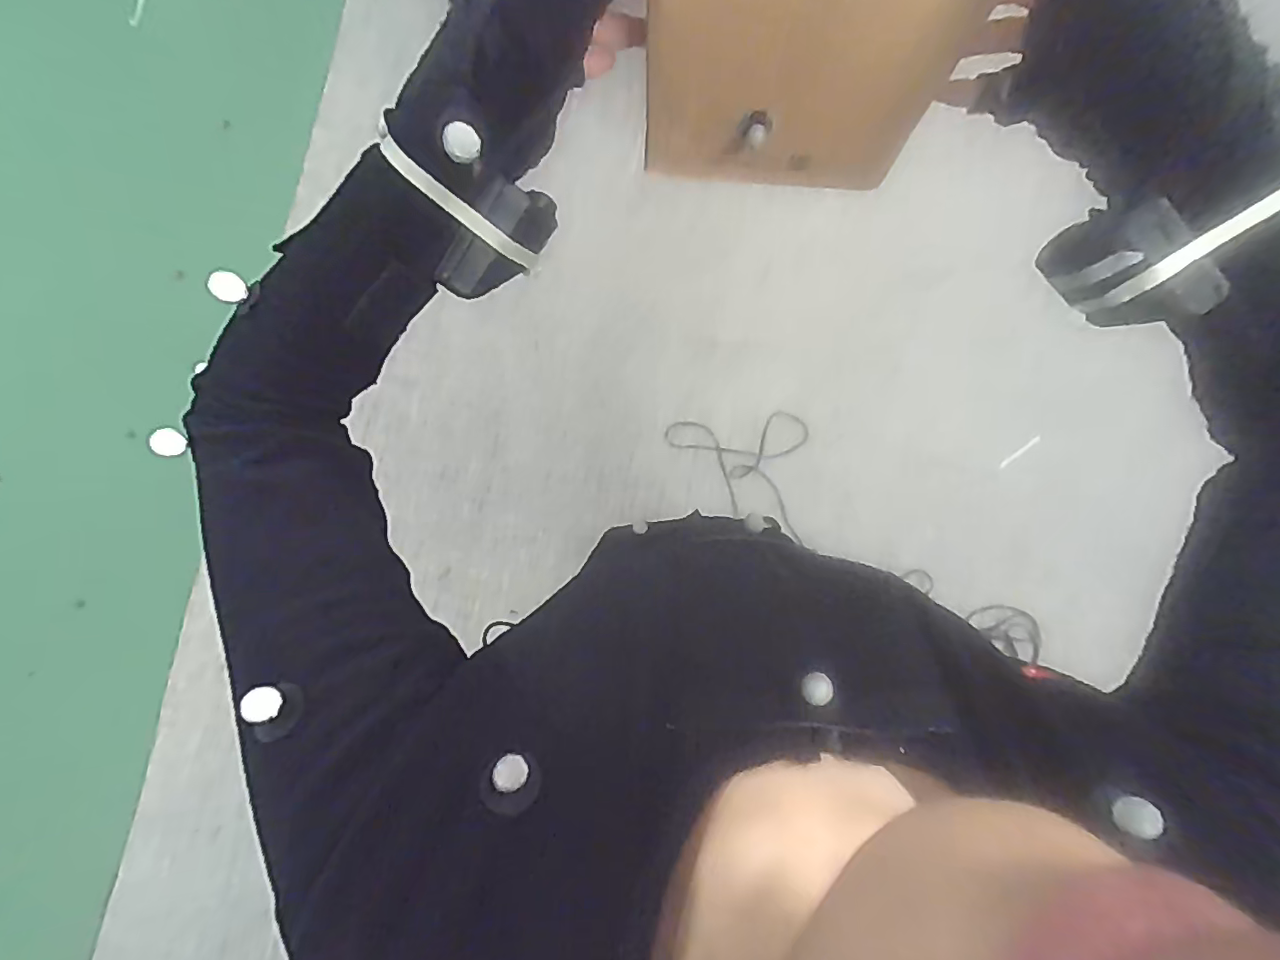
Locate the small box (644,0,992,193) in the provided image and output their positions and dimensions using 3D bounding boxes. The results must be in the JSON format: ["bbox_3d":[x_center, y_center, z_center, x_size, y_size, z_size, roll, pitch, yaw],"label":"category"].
[{"bbox_3d":[0.090,-0.307,0.319,0.168,0.176,0.179,4,84,1],"label":"small box"}]
